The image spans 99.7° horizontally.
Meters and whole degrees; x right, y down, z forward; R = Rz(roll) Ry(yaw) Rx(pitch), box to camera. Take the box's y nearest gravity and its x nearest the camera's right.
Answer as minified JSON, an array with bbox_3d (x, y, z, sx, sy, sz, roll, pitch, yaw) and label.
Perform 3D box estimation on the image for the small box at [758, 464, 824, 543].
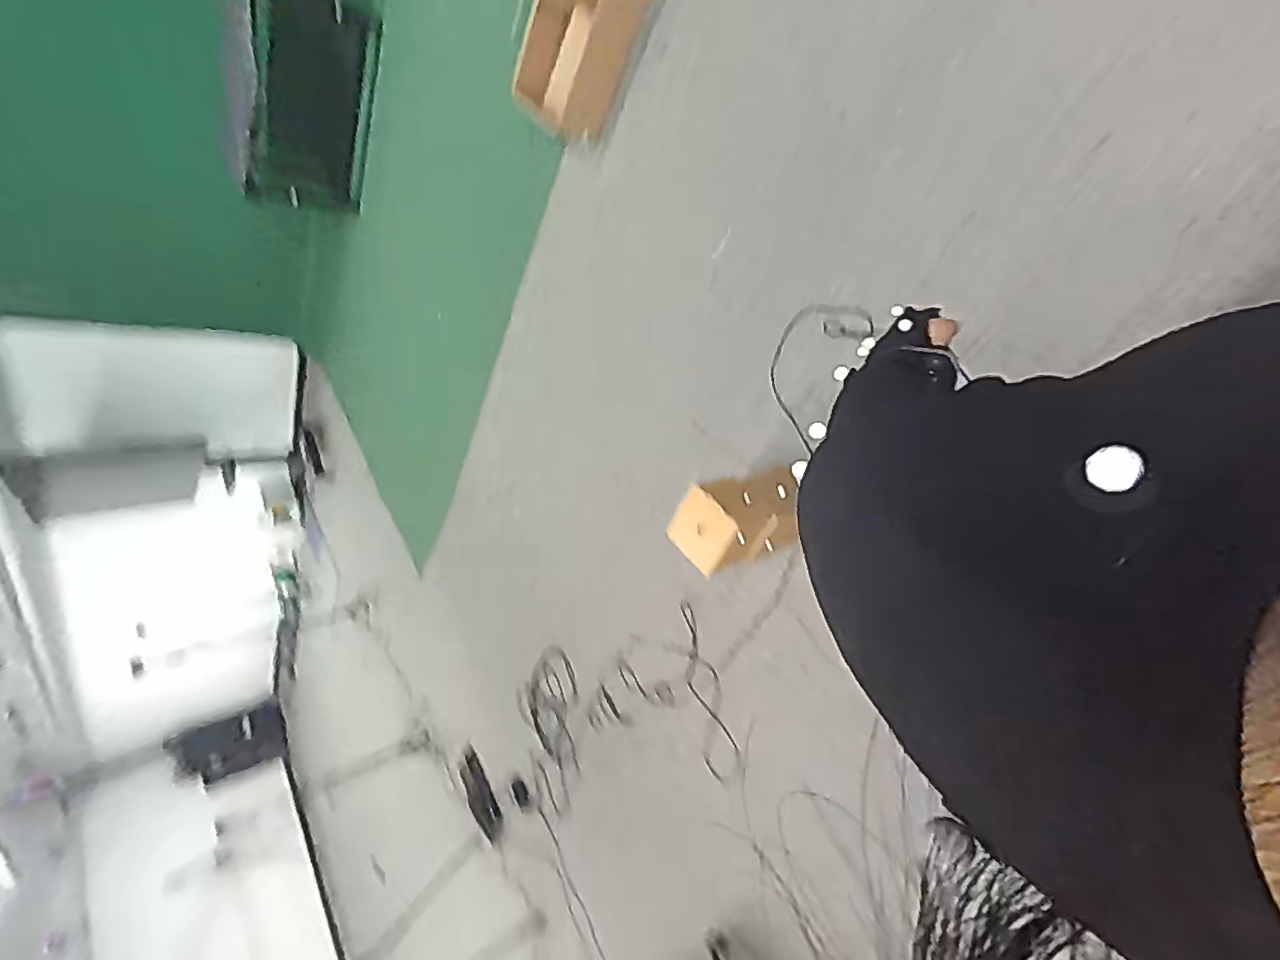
[{"bbox_3d":[0.428,0.066,1.633,0.168,0.176,0.179,44,125,33],"label":"small box"}]

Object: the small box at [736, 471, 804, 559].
[{"bbox_3d":[0.323,0.092,1.509,0.168,0.176,0.179,47,126,30],"label":"small box"}]

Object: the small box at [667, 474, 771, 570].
[{"bbox_3d":[0.206,0.102,1.396,0.168,0.176,0.179,46,125,31],"label":"small box"}]
